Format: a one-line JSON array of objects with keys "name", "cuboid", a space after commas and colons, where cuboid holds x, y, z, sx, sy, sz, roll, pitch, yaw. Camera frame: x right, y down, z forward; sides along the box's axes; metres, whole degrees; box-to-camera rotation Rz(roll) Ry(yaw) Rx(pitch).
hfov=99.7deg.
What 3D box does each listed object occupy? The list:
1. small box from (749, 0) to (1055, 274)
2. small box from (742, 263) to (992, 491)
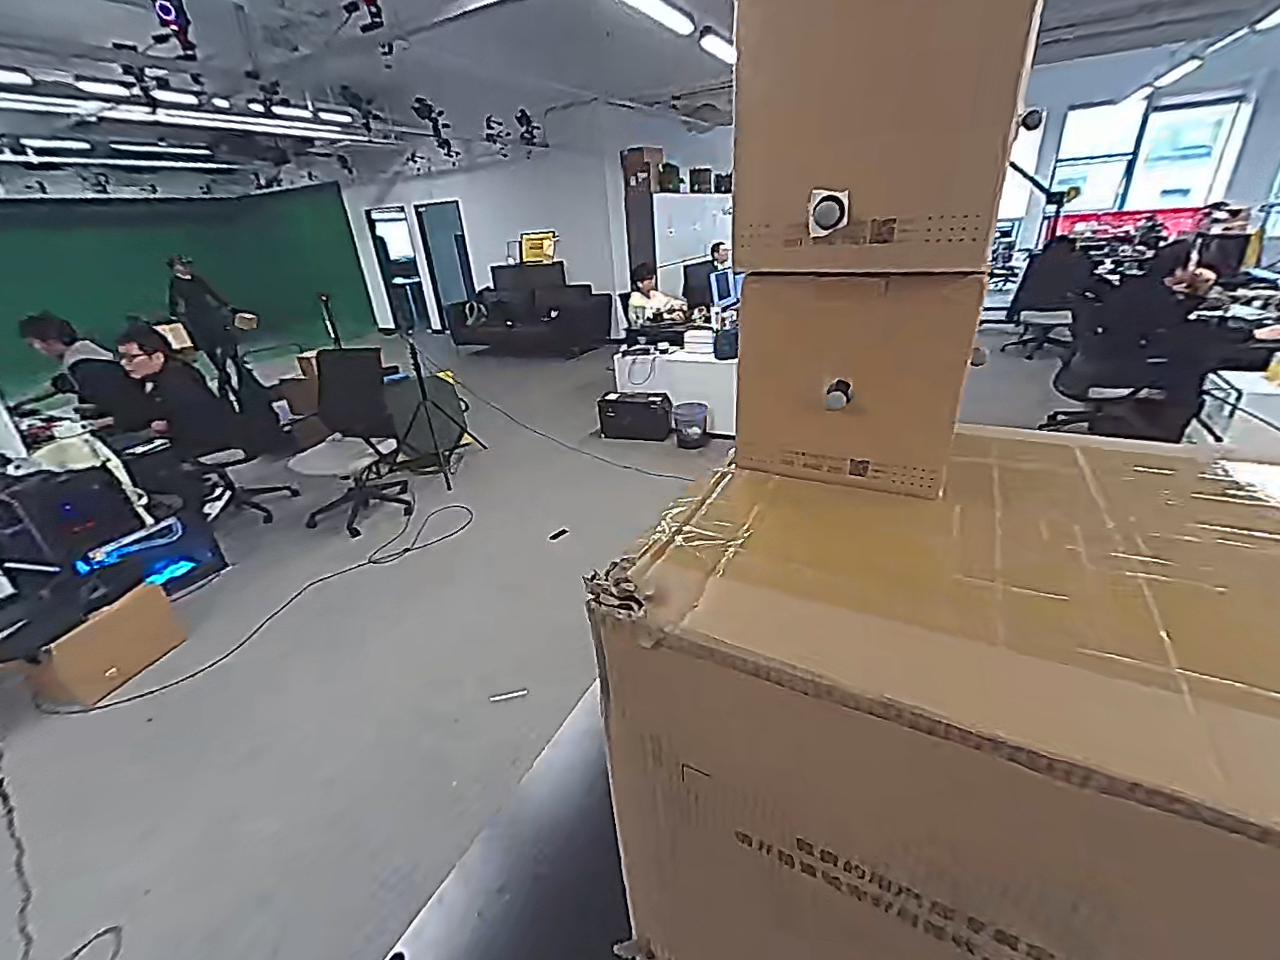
[{"name": "small box", "cuboid": [0.181, -0.247, 0.390, 0.168, 0.176, 0.179, 10, 29, 29]}, {"name": "small box", "cuboid": [0.195, -0.106, 0.473, 0.168, 0.176, 0.179, 11, 29, 27]}]
